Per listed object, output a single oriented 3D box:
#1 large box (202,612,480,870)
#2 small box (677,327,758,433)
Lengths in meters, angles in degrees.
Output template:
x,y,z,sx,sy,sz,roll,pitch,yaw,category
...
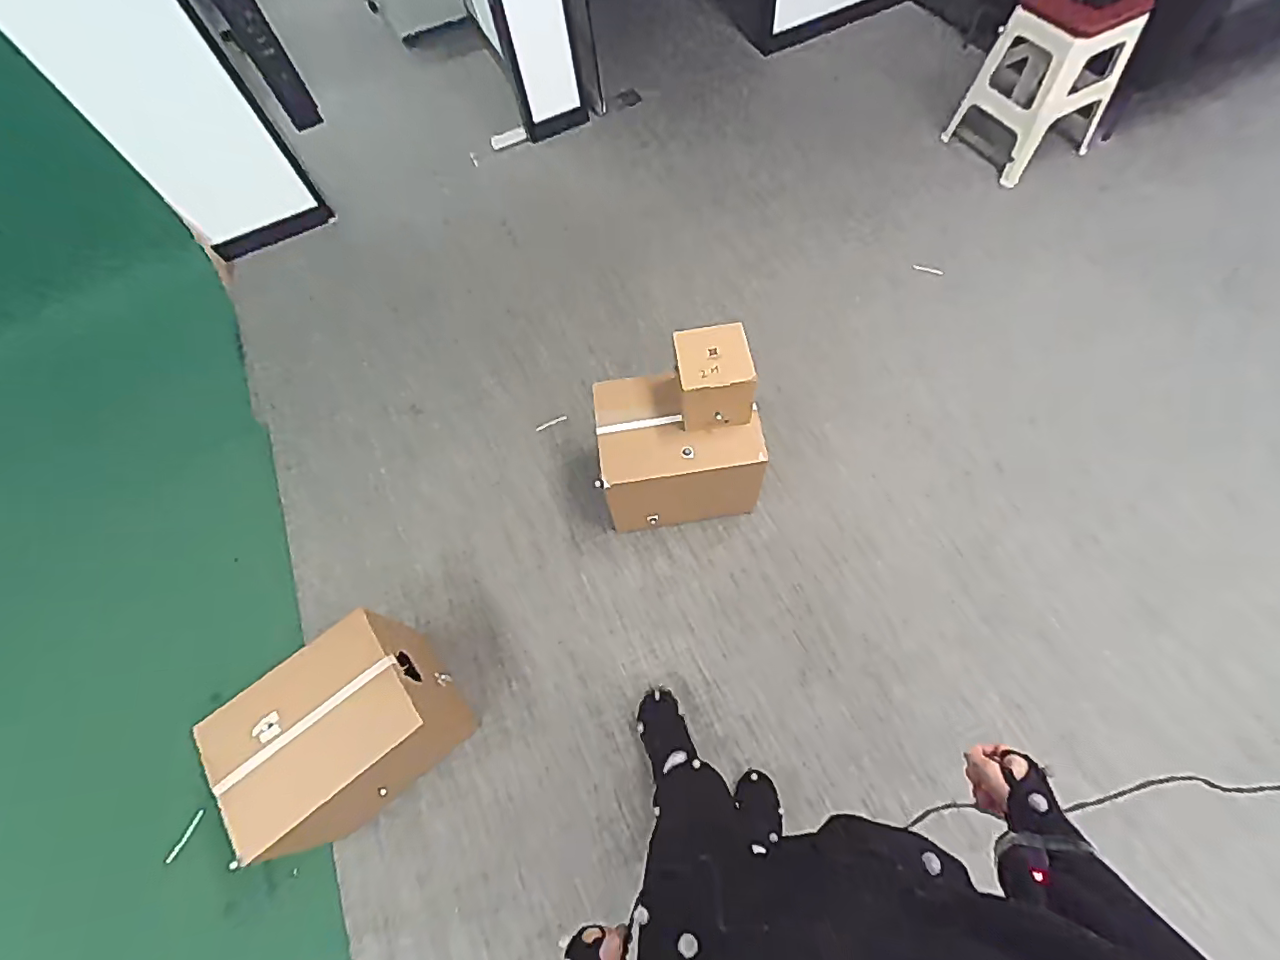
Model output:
x,y,z,sx,sy,sz,roll,pitch,yaw,category
-0.658,0.577,1.247,0.408,0.320,0.320,-38,65,-11,large box
0.179,-0.236,1.294,0.168,0.176,0.179,-8,61,3,small box
